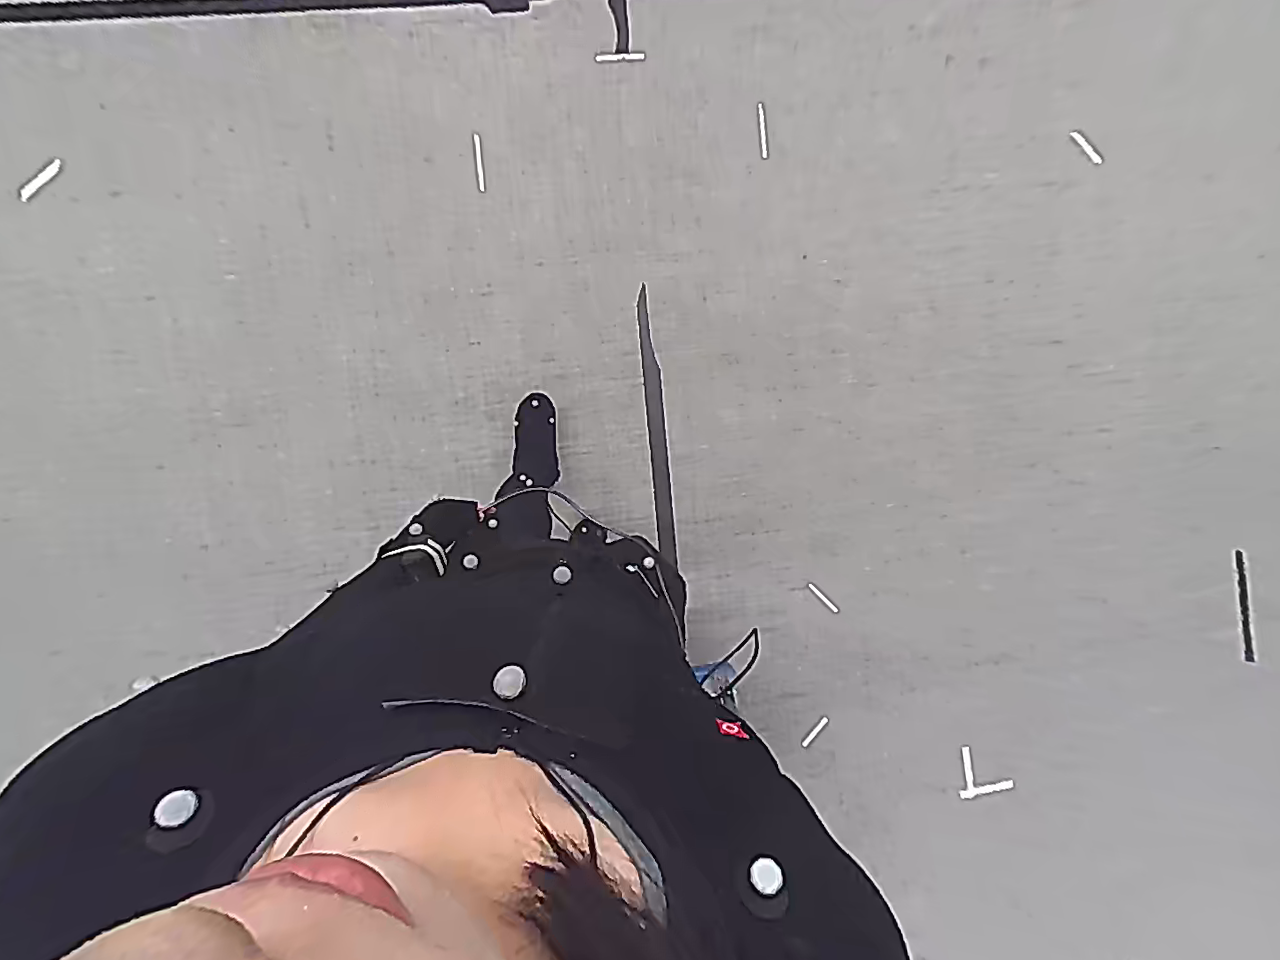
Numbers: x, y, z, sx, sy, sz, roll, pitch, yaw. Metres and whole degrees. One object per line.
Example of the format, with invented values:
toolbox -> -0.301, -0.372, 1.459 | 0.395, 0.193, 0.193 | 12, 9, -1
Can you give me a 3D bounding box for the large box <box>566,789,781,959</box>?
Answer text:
large box -> 0.072, 0.982, 1.217 | 0.408, 0.320, 0.320 | -15, 90, -5
